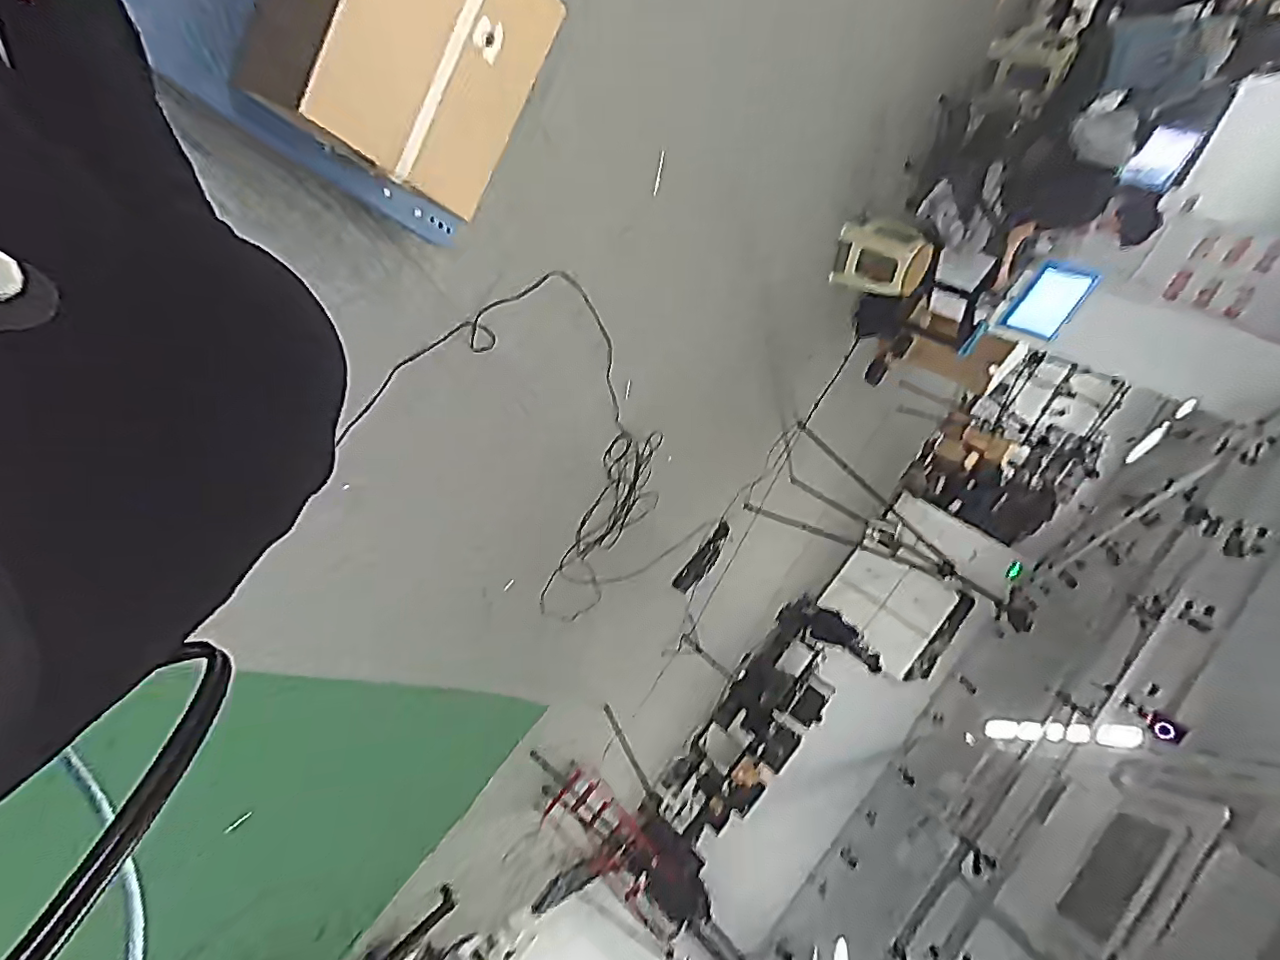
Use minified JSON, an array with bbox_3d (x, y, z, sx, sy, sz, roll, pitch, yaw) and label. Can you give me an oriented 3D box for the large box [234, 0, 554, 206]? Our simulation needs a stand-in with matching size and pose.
[{"bbox_3d":[-0.423,-0.772,0.933,0.320,0.320,0.408,12,109,-58],"label":"large box"}]
